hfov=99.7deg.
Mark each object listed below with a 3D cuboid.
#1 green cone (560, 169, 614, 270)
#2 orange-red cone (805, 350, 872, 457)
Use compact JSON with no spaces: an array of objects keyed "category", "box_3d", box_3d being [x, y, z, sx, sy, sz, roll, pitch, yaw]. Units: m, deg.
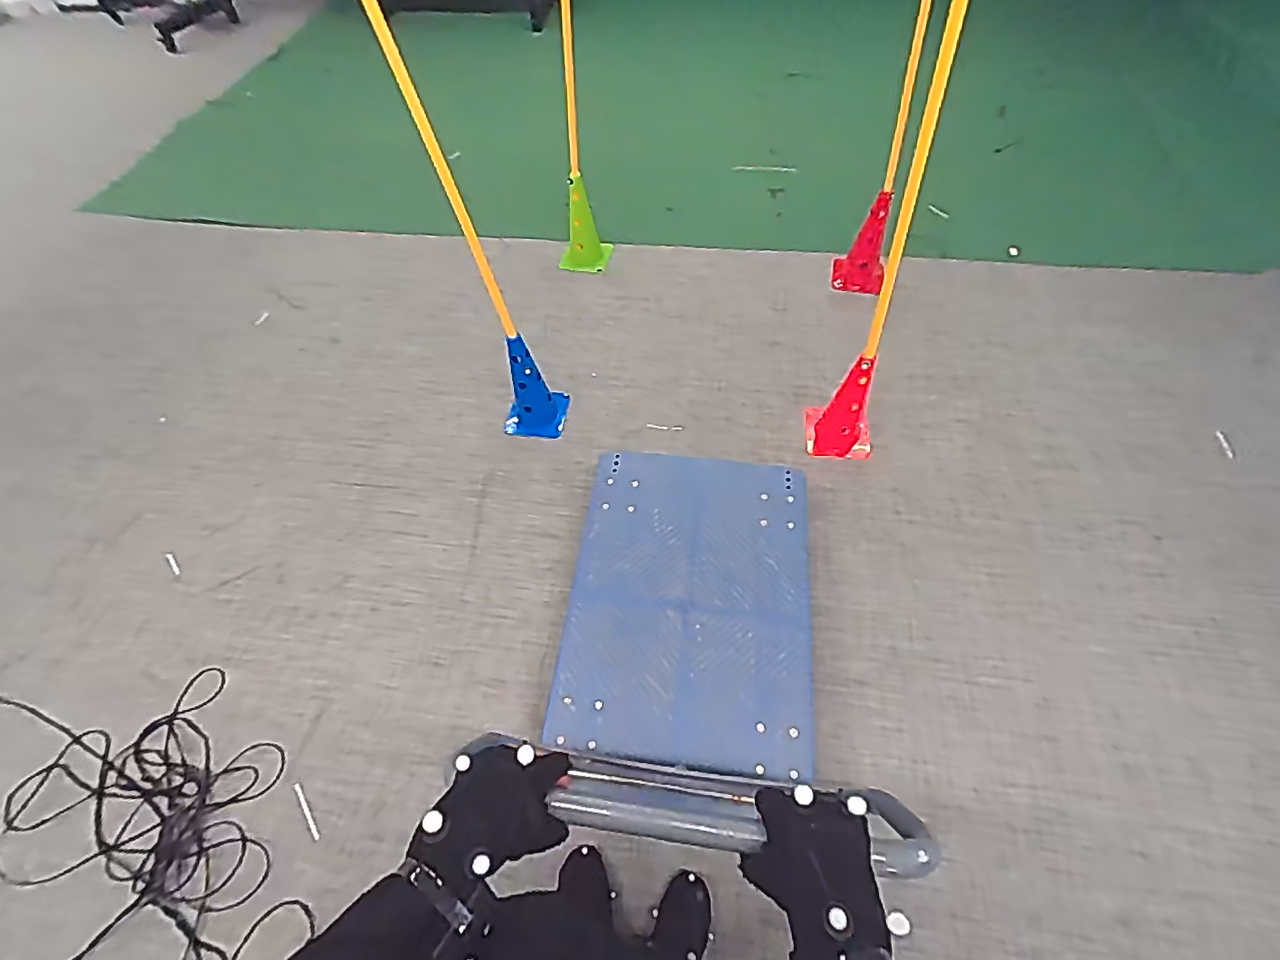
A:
[{"category":"green cone","box_3d":[-0.238,-1.073,2.197,0.202,0.368,0.200,9,58,10]},{"category":"orange-red cone","box_3d":[0.634,-0.252,1.643,0.199,0.360,0.198,4,58,8]}]
